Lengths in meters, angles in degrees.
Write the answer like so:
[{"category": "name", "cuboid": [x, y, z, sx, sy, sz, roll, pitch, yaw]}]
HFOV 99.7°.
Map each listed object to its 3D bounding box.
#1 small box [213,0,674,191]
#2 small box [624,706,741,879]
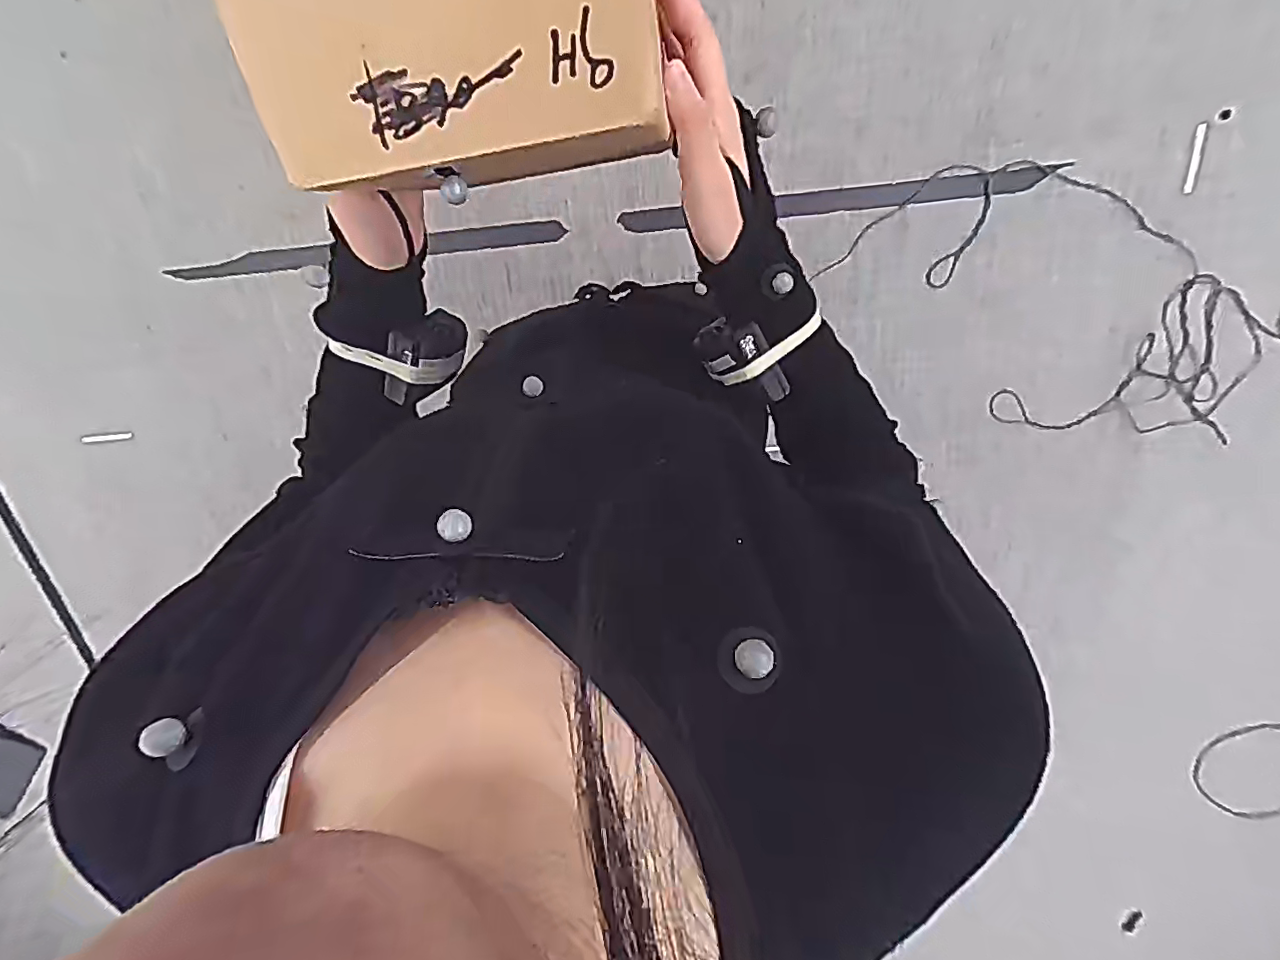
[{"category": "small box", "cuboid": [-0.076, -0.245, 0.253, 0.168, 0.176, 0.179, -5, 117, 9]}, {"category": "small box", "cuboid": [0.068, 0.485, 0.853, 0.168, 0.176, 0.179, -3, 110, 4]}]
